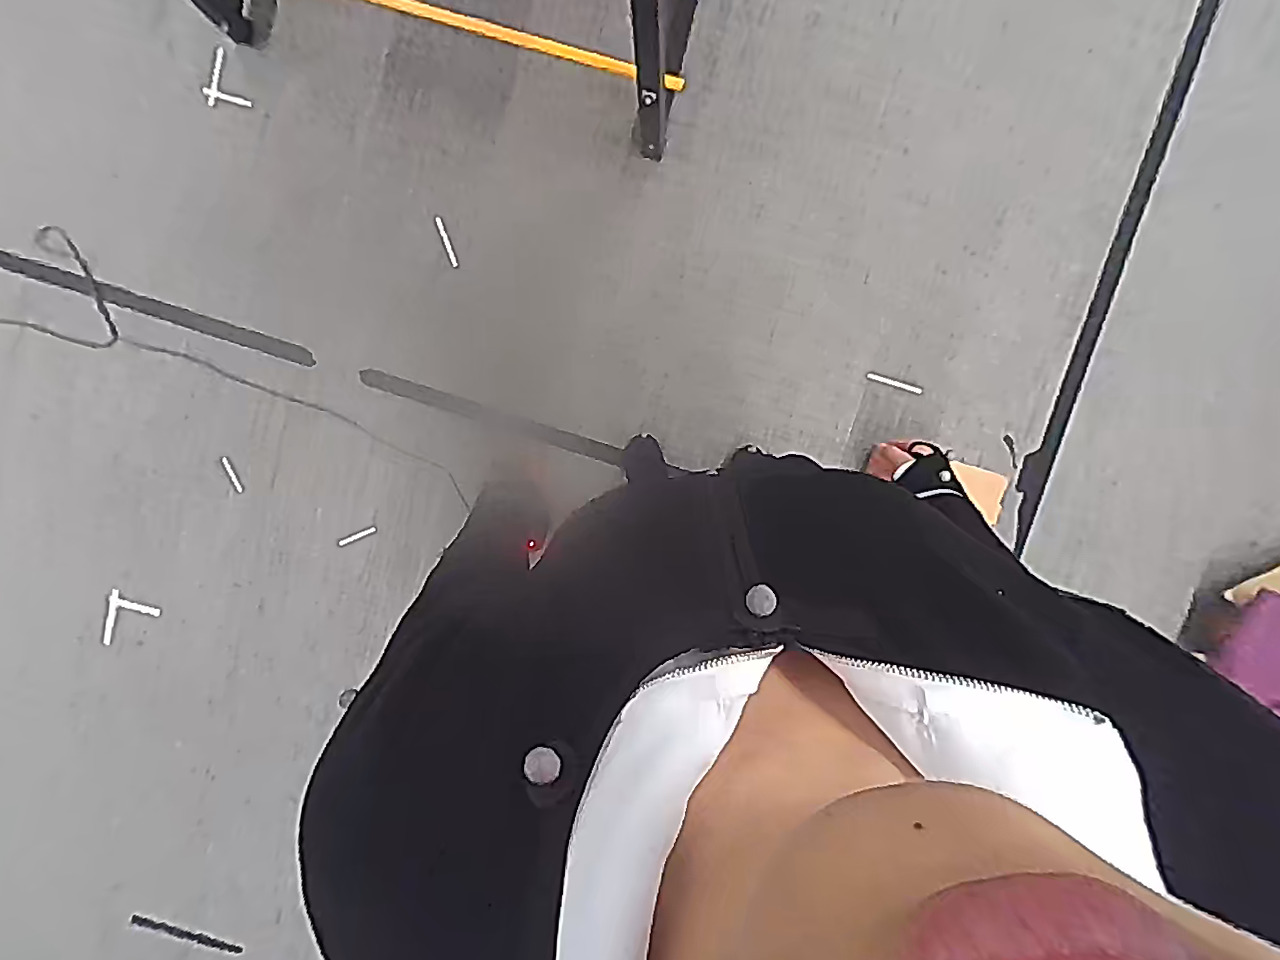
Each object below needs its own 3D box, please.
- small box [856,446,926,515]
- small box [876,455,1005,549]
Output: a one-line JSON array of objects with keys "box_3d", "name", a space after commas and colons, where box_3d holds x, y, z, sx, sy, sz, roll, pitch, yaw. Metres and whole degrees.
[{"box_3d": [0.682, 0.019, 1.401, 0.168, 0.176, 0.179, 18, 95, 1], "name": "small box"}, {"box_3d": [0.678, 0.042, 1.240, 0.179, 0.176, 0.168, 17, 94, 2], "name": "small box"}]
